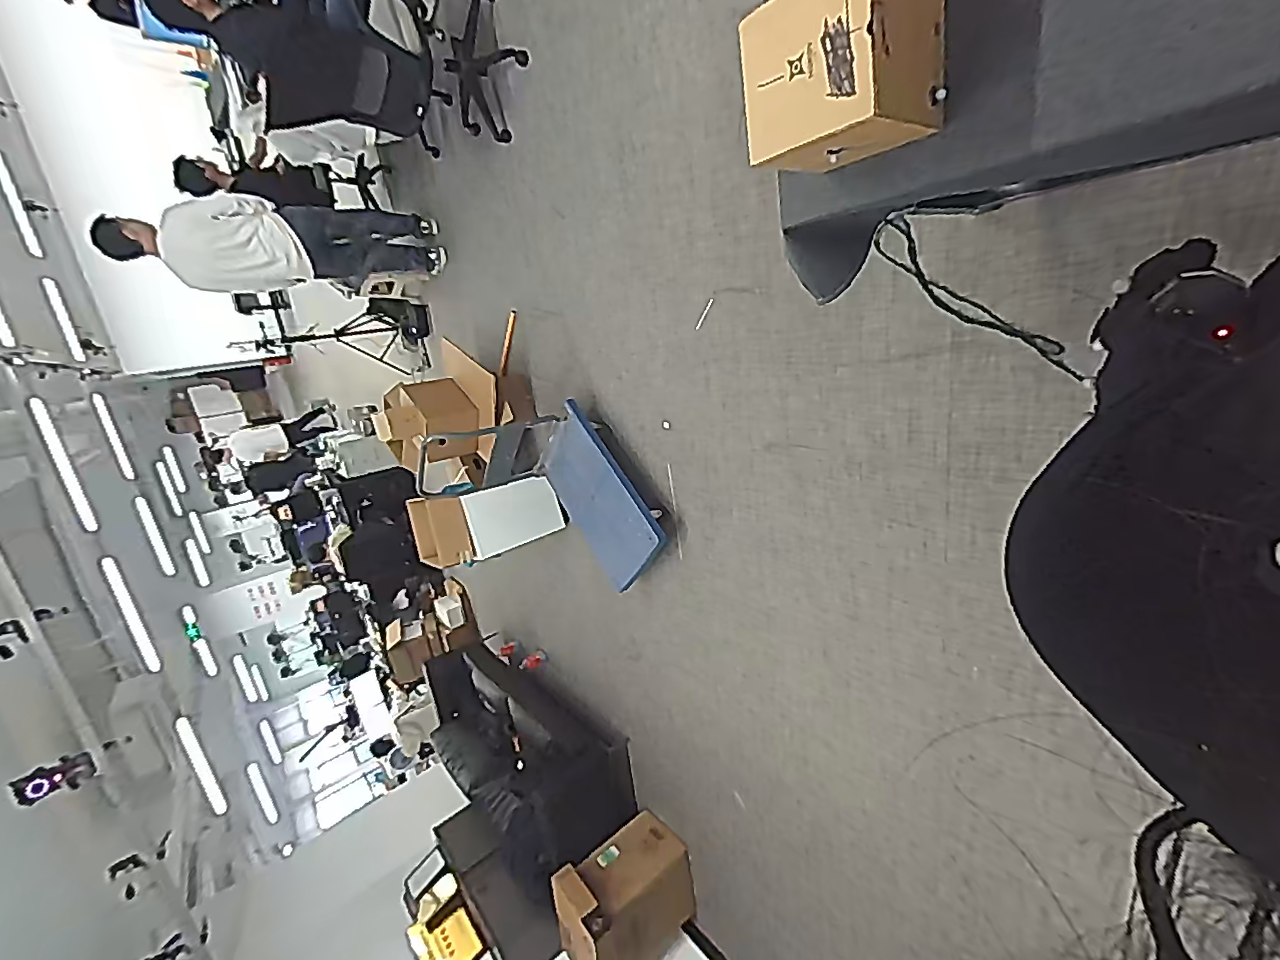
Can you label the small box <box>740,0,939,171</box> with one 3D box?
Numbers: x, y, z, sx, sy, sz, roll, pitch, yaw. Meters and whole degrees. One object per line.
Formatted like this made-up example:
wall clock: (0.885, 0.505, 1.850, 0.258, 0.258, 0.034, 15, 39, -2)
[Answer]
small box: (0.251, -0.504, 0.675, 0.179, 0.176, 0.168, 11, 115, 50)
